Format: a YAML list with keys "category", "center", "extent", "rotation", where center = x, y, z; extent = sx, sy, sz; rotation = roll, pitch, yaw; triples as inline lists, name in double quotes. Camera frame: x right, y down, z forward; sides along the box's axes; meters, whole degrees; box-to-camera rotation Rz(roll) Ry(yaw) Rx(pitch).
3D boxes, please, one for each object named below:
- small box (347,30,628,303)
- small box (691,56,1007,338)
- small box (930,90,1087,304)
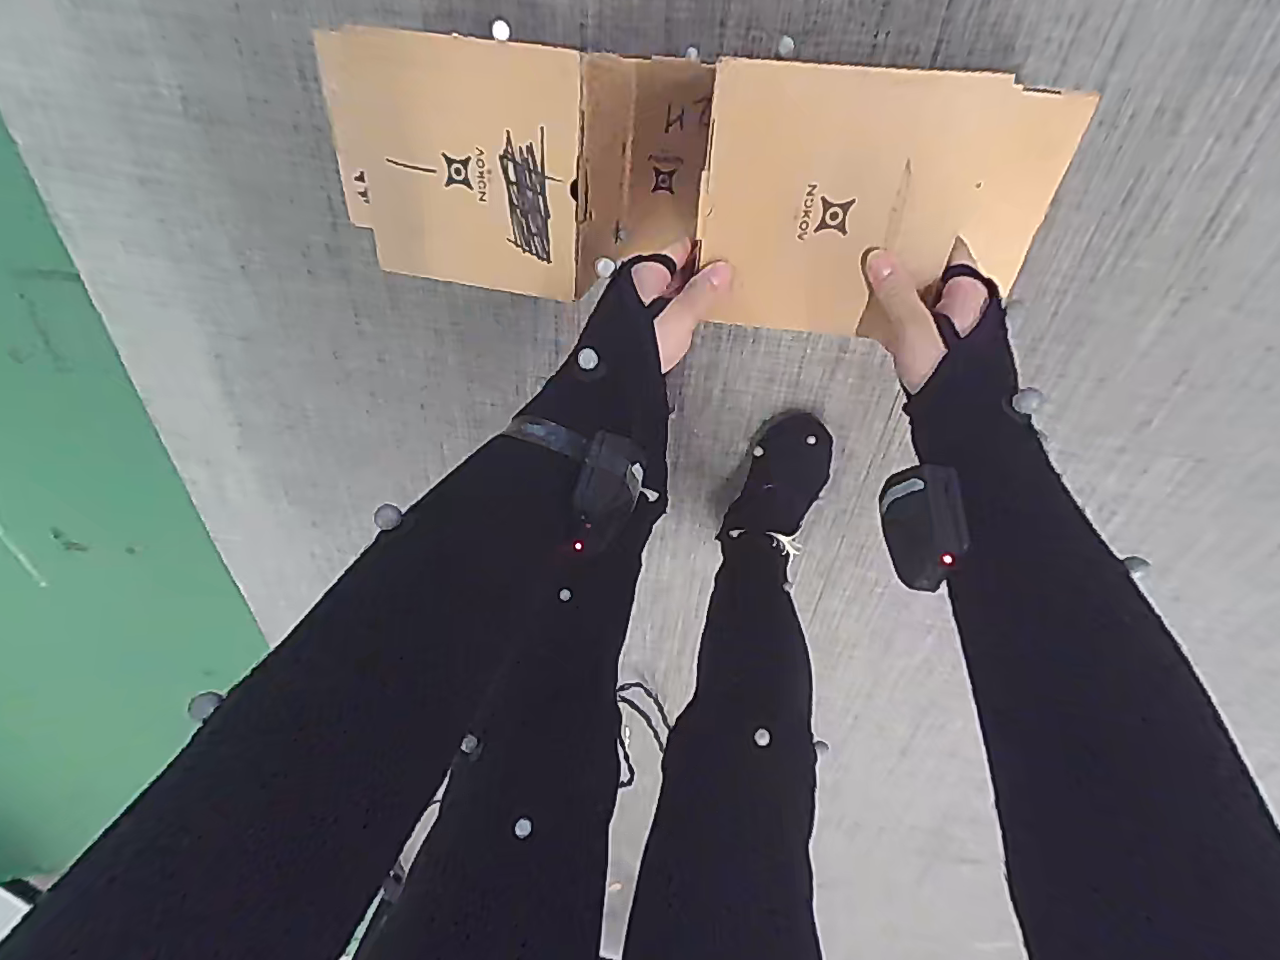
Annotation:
- category: "small box"
  center: [-0.113, -0.272, 0.476]
  extent: [0.179, 0.176, 0.168]
  rotation: [11, 124, 5]
- category: "small box"
  center: [0.141, -0.231, 0.440]
  extent: [0.179, 0.176, 0.168]
  rotation: [7, 126, 5]
- category: "small box"
  center: [0.303, -0.305, 0.571]
  extent: [0.168, 0.176, 0.179]
  rotation: [9, 124, 6]
